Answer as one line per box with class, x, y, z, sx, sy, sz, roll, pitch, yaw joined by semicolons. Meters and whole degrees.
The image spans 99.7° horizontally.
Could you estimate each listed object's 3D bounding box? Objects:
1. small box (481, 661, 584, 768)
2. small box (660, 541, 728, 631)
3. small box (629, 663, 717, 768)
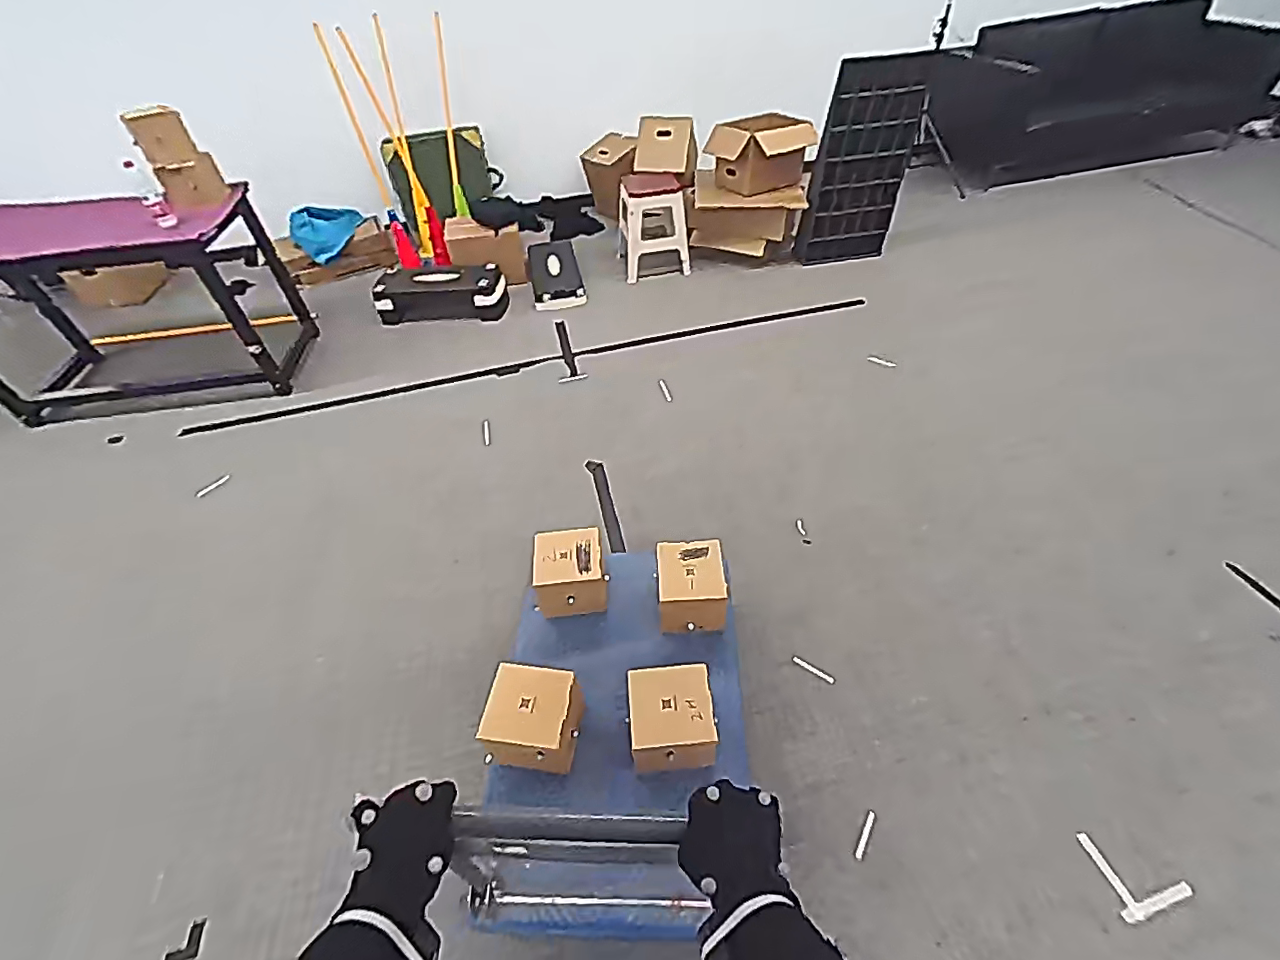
small box;-0.232;0.530;1.219;0.179;0.176;0.168;5;47;6
small box;0.136;0.281;1.428;0.168;0.176;0.179;-3;48;2
small box;0.071;0.526;1.202;0.179;0.176;0.168;-5;47;0
